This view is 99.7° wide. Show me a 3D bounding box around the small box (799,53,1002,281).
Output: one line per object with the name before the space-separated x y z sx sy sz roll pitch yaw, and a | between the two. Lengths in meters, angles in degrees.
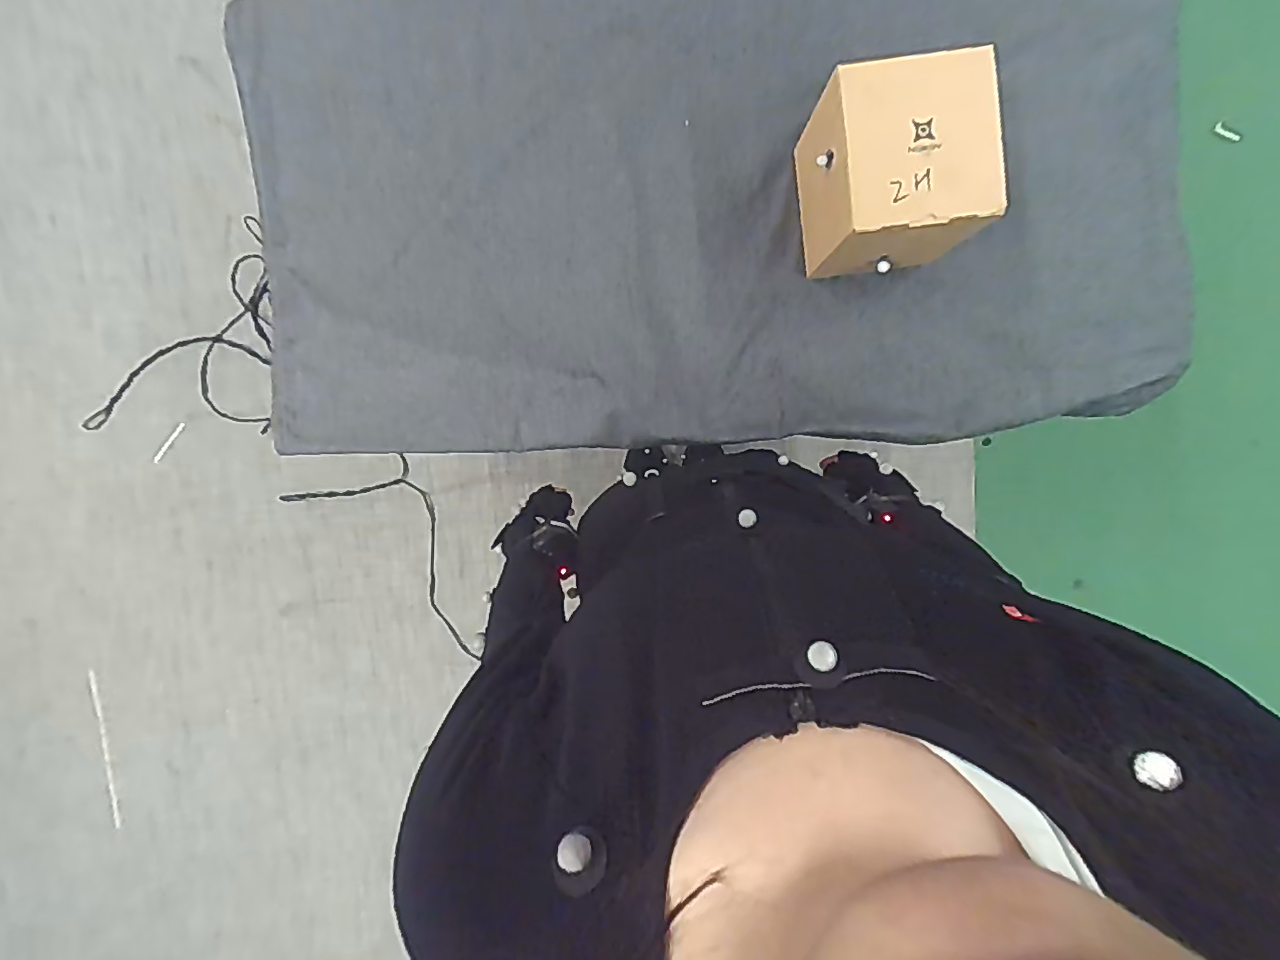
small box | 0.301 -0.364 0.659 0.168 0.176 0.179 -7 93 2
